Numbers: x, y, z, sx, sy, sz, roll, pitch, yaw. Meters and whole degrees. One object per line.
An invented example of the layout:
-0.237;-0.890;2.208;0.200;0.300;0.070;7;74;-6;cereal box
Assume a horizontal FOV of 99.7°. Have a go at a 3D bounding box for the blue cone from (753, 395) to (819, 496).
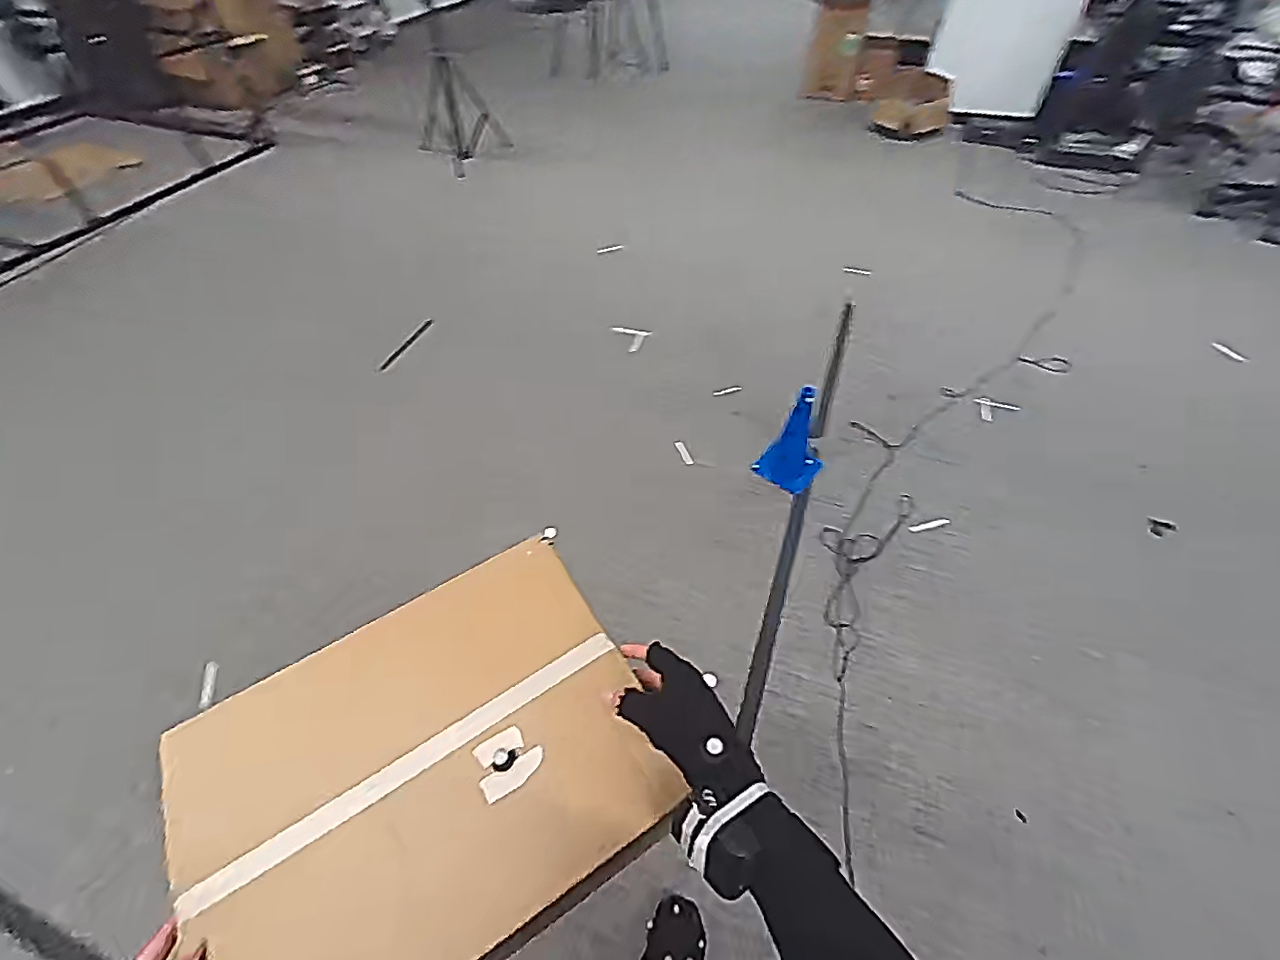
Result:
0.528;-0.143;1.839;0.193;0.380;0.192;33;58;27;blue cone
